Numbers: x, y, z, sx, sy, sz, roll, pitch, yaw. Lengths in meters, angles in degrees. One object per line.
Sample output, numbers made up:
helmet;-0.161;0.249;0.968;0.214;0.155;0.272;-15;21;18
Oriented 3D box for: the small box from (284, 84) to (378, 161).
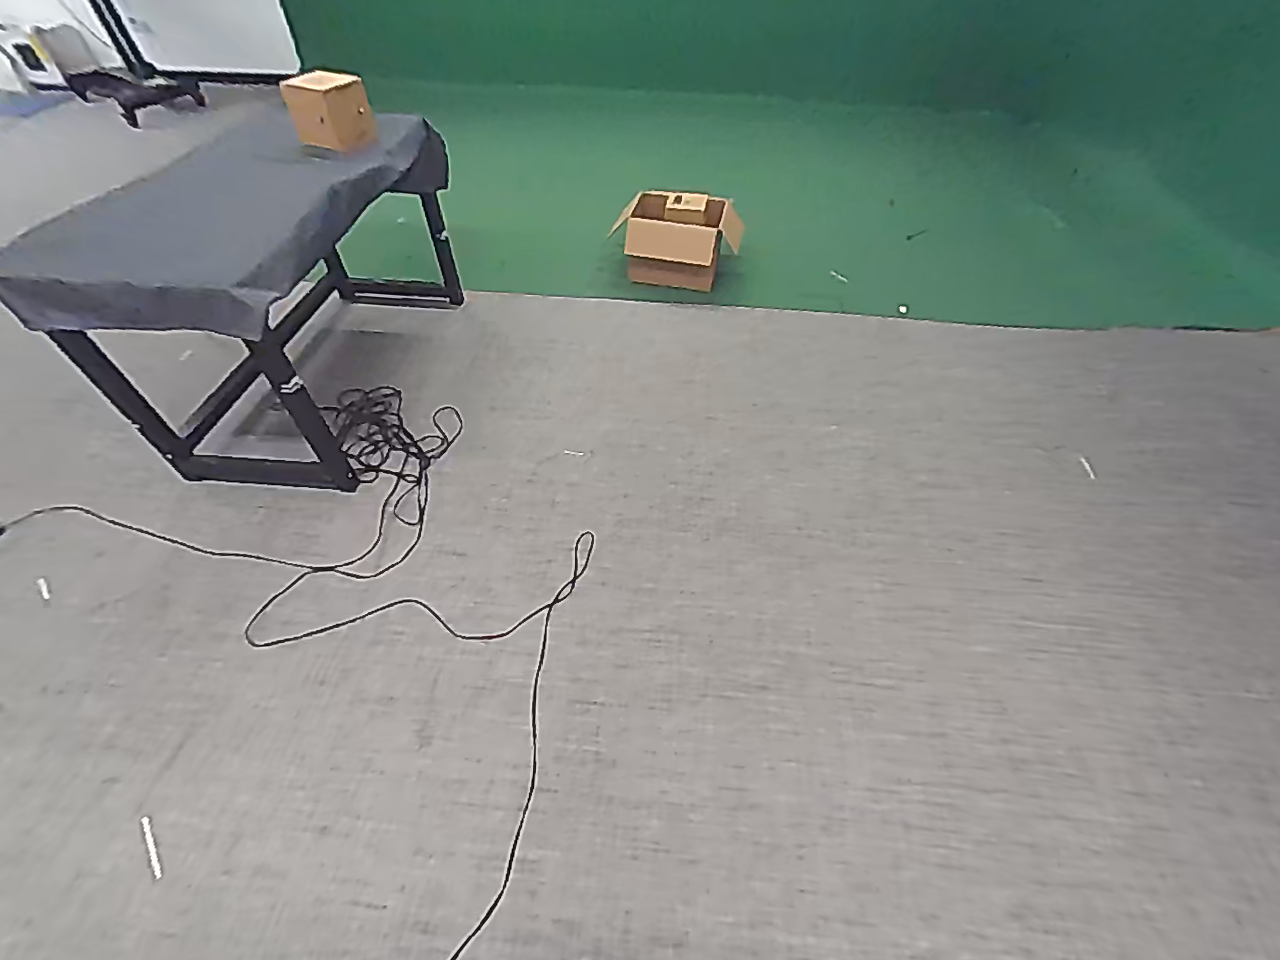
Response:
small box;-0.992;-1.157;1.754;0.179;0.176;0.168;17;49;16
